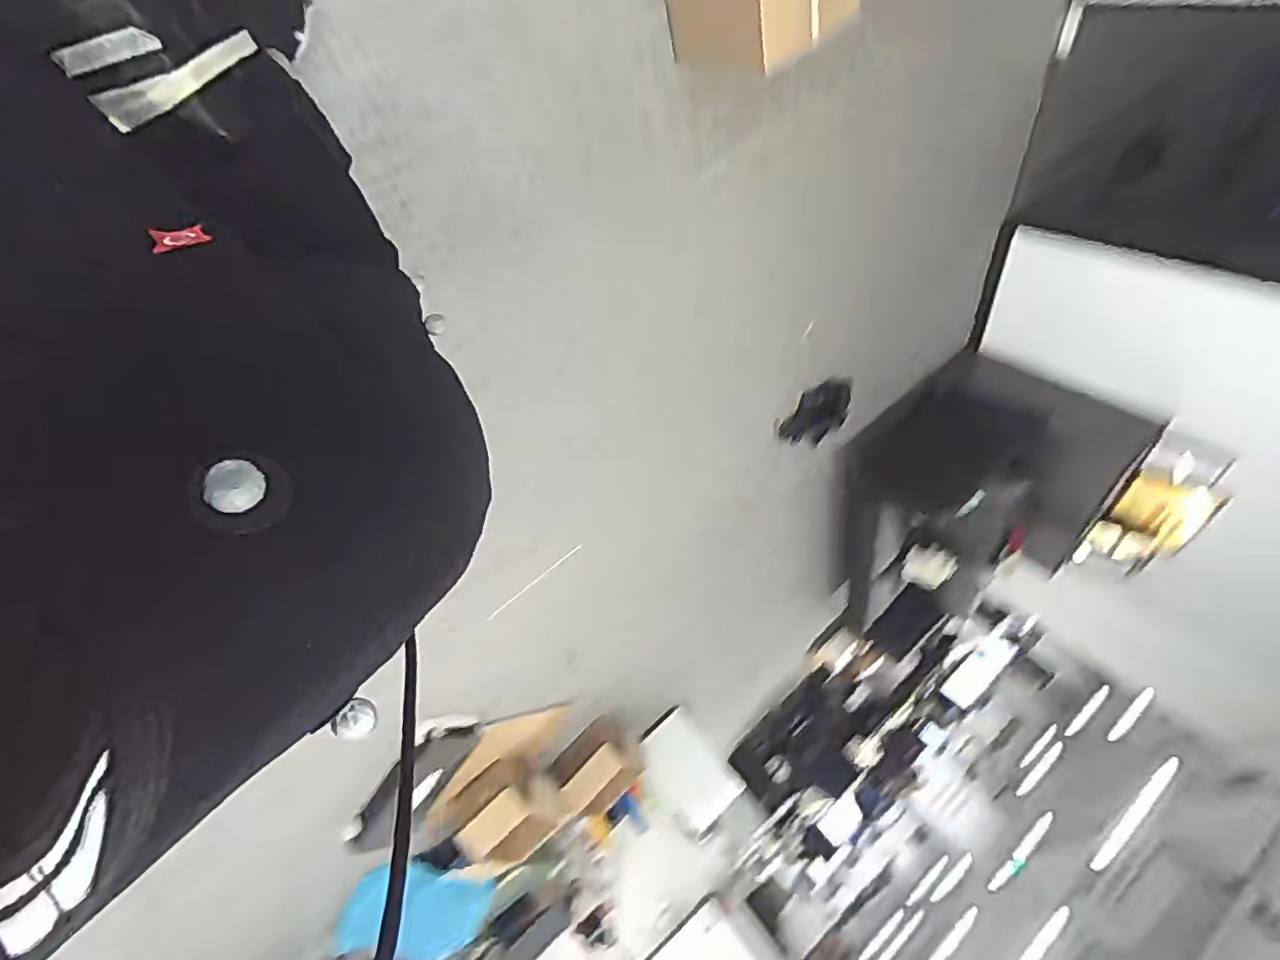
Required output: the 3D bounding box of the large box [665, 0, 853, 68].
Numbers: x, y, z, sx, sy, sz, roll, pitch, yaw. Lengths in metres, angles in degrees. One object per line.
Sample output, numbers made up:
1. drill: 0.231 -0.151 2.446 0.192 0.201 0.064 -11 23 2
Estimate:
1. large box: 0.238 -1.195 1.159 0.320 0.320 0.408 -39 143 -11
